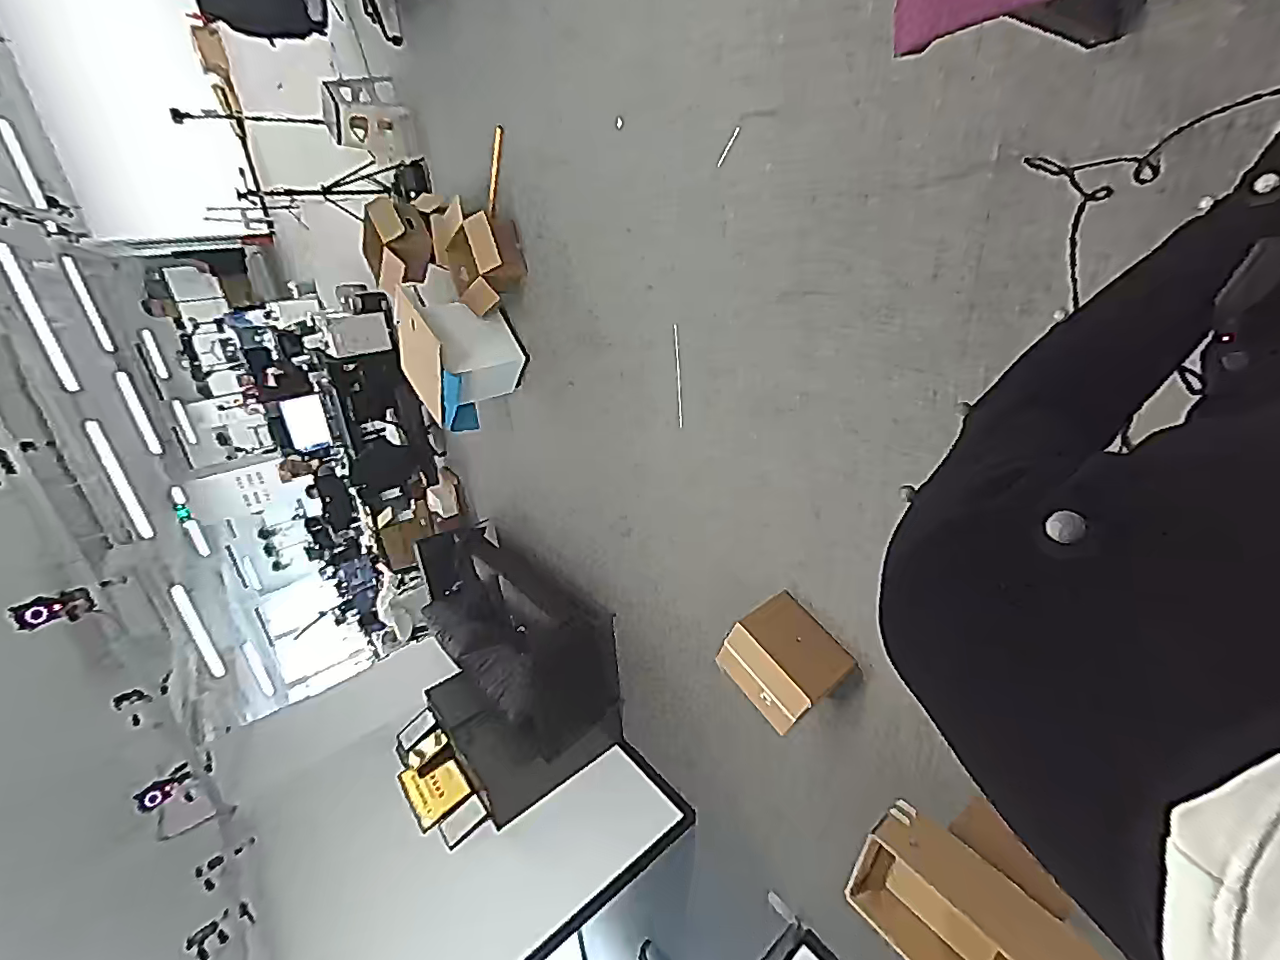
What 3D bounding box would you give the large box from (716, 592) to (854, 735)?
[{"bbox_3d":[0.595,0.756,2.266,0.408,0.320,0.320,45,140,29],"label":"large box"}]
